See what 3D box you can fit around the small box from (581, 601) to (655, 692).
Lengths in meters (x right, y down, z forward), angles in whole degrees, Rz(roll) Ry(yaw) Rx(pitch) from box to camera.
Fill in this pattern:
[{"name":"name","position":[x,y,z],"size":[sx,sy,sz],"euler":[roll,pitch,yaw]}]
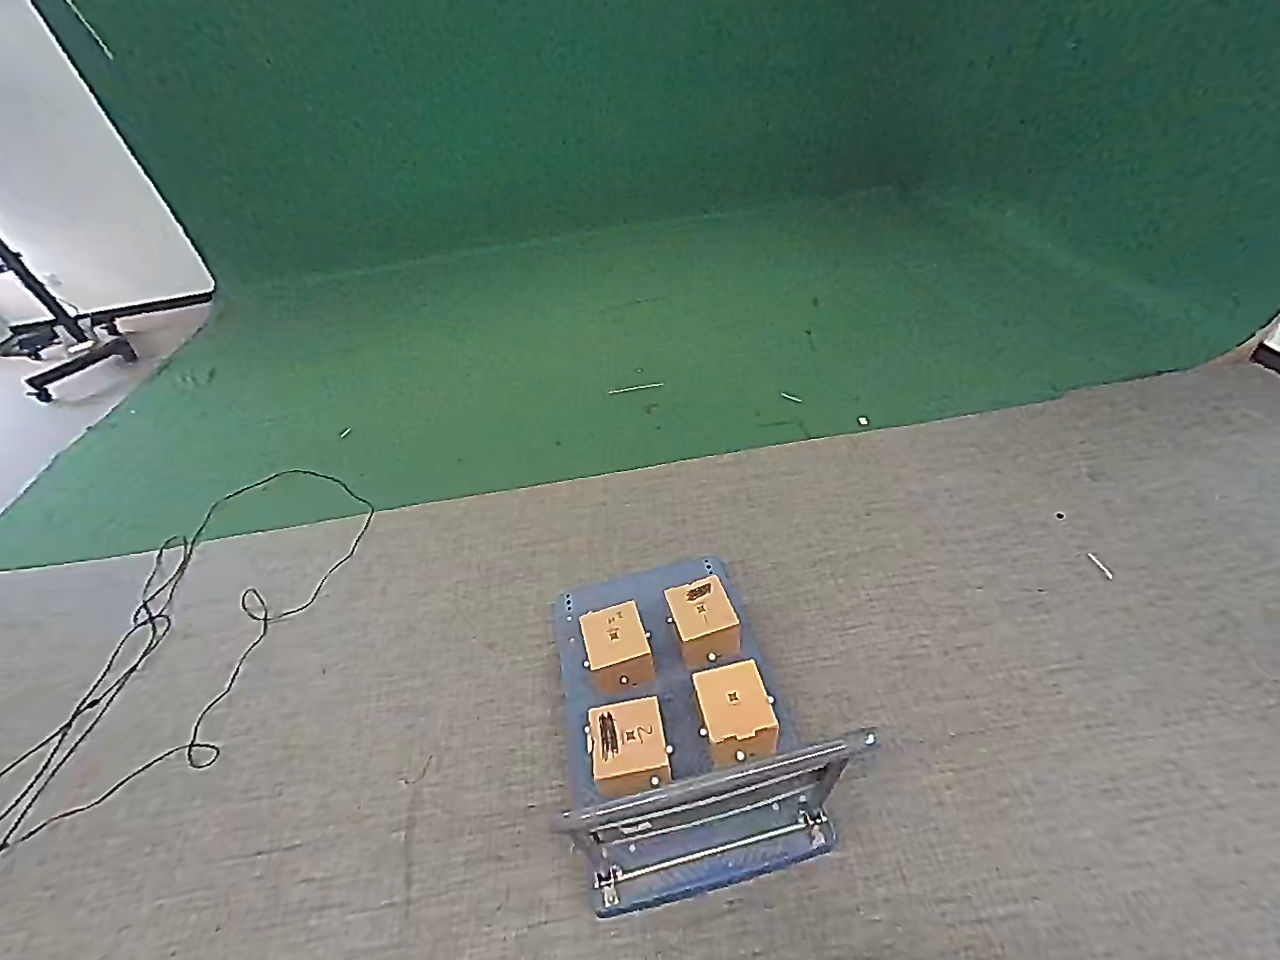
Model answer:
[{"name":"small box","position":[-0.061,0.478,1.532],"size":[0.168,0.176,0.179],"euler":[-15,44,-7]}]

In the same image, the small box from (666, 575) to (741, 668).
[{"name":"small box","position":[0.182,0.410,1.563],"size":[0.168,0.176,0.179],"euler":[-16,45,-6]}]

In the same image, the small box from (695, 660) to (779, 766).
[{"name":"small box","position":[0.238,0.590,1.369],"size":[0.168,0.176,0.179],"euler":[-12,44,-4]}]
